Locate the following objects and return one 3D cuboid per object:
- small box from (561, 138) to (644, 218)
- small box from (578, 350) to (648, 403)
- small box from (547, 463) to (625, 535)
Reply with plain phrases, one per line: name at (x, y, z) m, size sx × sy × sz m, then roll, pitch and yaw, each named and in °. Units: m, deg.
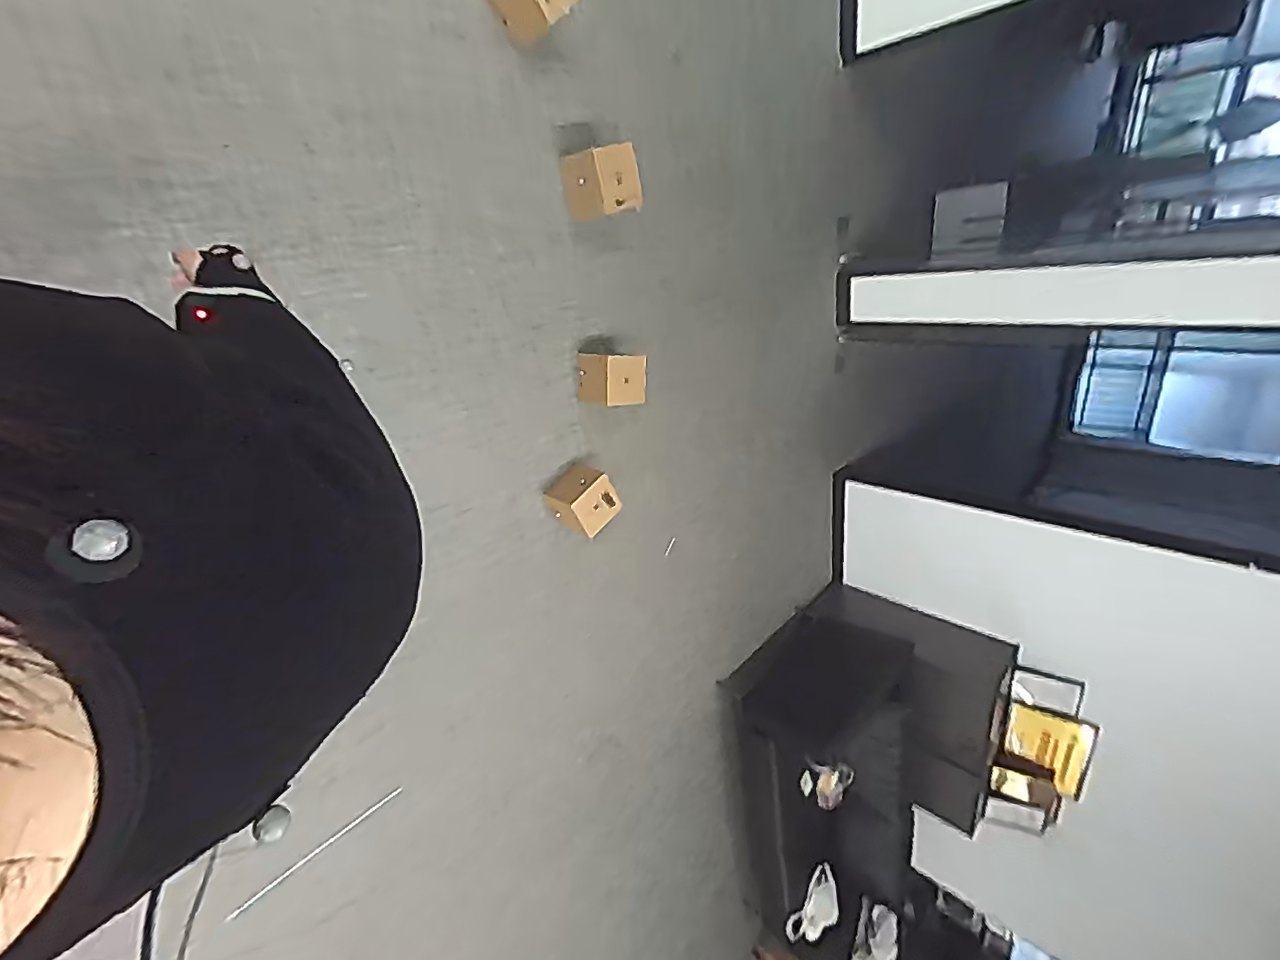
small box at (-0.118, -0.925, 1.663) m, size 0.168 × 0.176 × 0.179 m, roll -35°, pitch 124°, yaw -33°
small box at (-0.094, -0.361, 1.864) m, size 0.179 × 0.176 × 0.168 m, roll -12°, pitch 110°, yaw -42°
small box at (-0.191, 0.060, 1.895) m, size 0.179 × 0.176 × 0.168 m, roll -46°, pitch 130°, yaw -25°
